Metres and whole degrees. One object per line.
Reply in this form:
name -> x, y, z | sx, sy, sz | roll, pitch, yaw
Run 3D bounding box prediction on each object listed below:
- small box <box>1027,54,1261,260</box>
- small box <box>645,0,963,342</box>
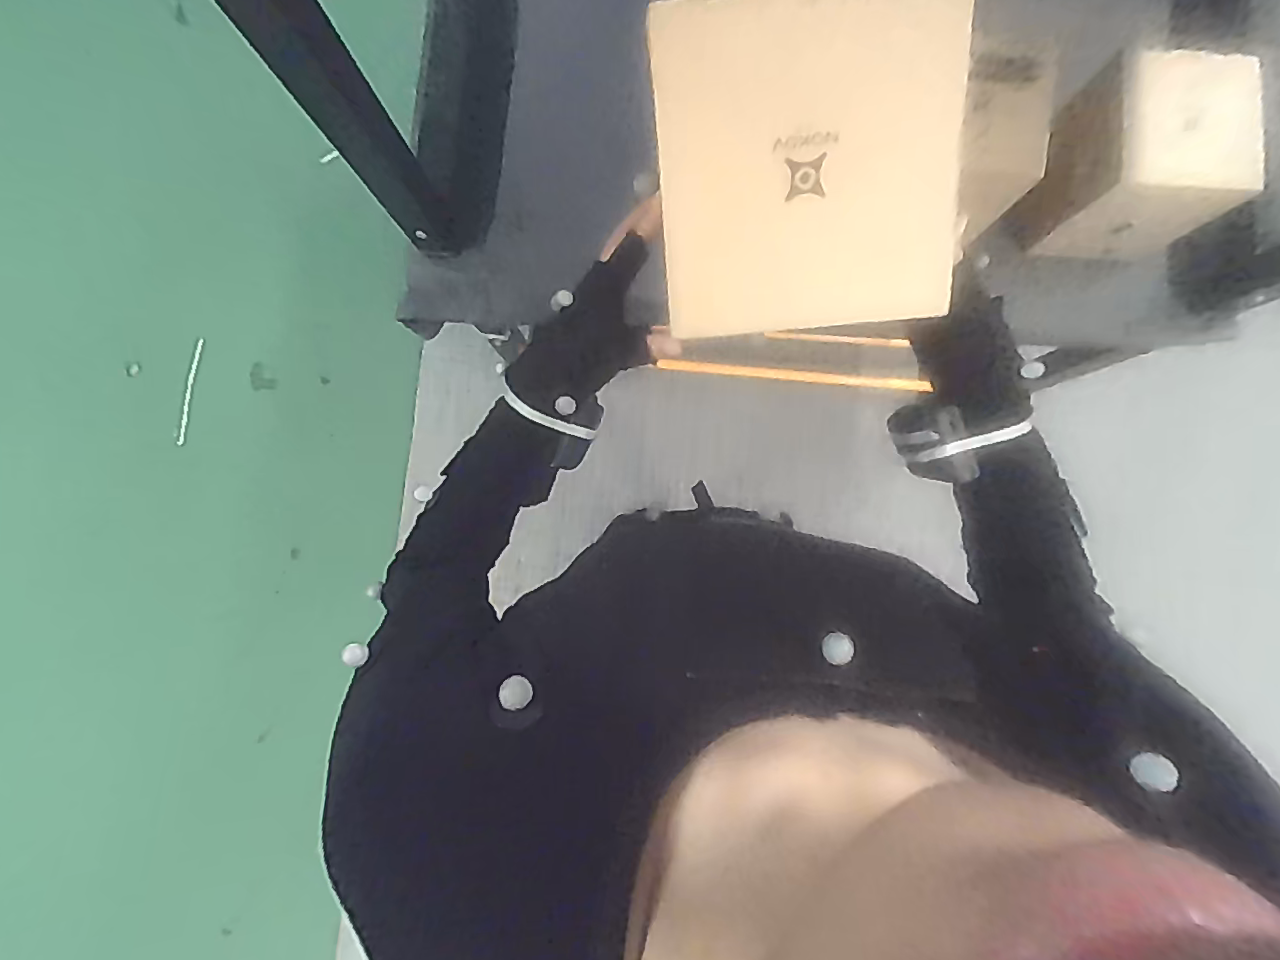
small box -> 0.657, -0.418, 0.726 | 0.168, 0.176, 0.179 | 4, 83, 2
small box -> 0.098, -0.199, 0.381 | 0.168, 0.176, 0.179 | -5, 107, 6
